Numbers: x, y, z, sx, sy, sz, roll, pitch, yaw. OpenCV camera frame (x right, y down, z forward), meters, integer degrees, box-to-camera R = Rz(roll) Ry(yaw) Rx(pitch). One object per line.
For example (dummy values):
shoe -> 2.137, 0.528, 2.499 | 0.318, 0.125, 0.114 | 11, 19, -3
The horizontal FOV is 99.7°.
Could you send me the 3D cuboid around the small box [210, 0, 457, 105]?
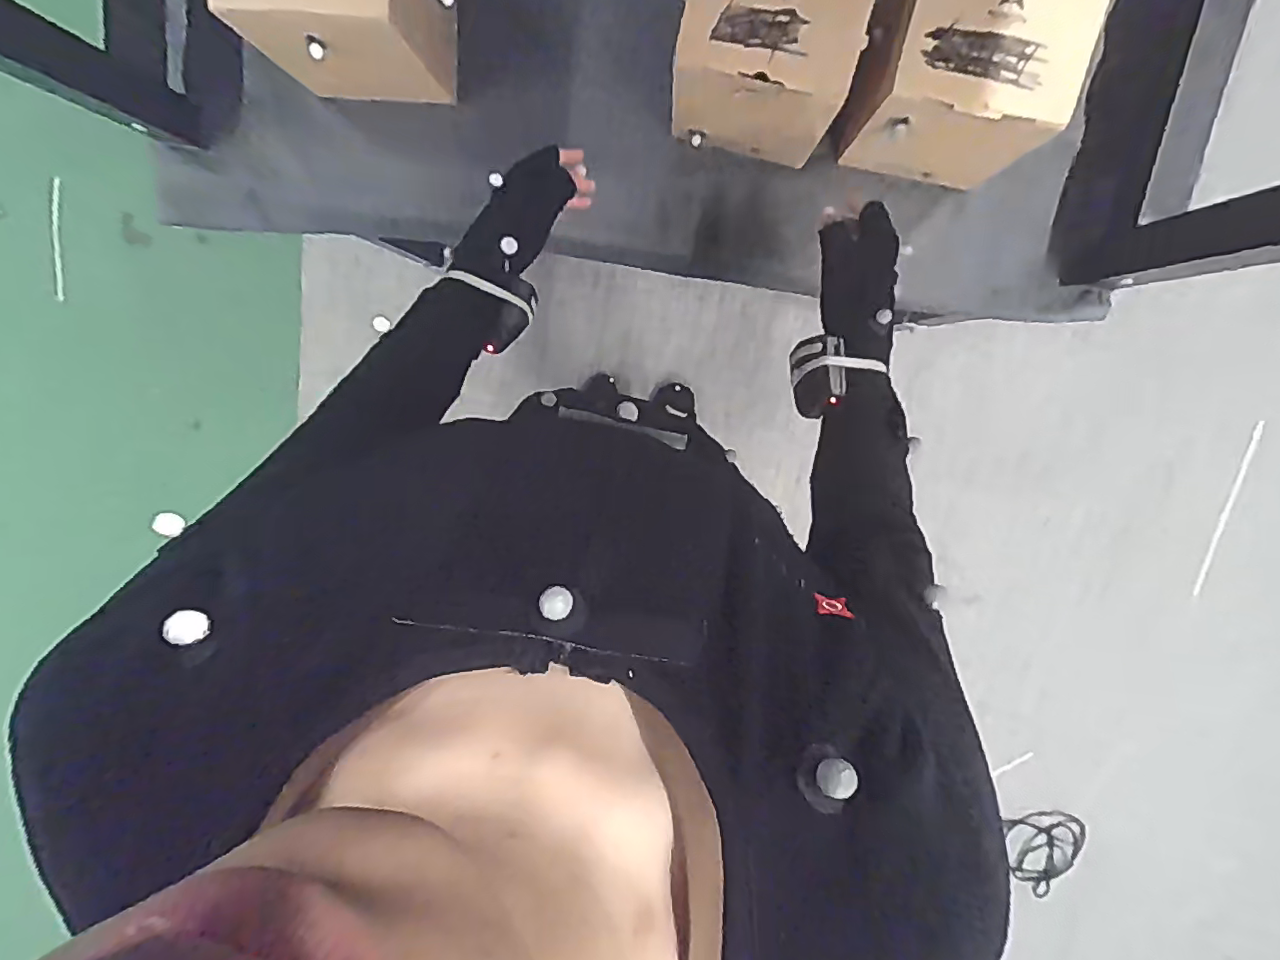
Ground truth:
small box -> -0.309, -0.527, 0.570 | 0.179, 0.176, 0.168 | 4, 102, 1
